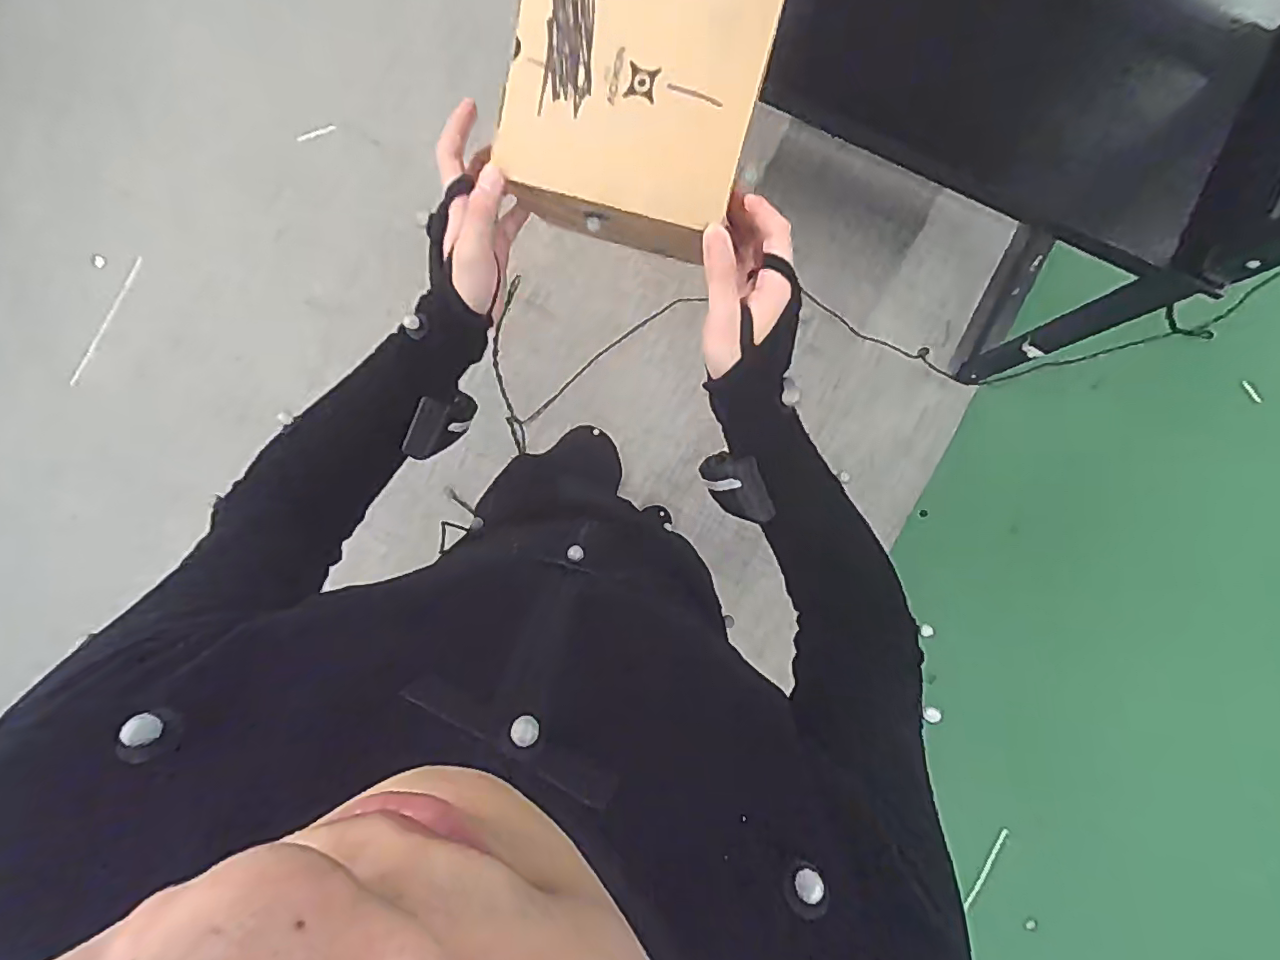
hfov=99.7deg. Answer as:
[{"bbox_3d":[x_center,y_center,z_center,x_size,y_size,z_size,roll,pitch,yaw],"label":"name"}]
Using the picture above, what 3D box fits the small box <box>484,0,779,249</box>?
[{"bbox_3d":[-0.001,-0.302,0.439,0.179,0.176,0.168,15,105,2],"label":"small box"}]
